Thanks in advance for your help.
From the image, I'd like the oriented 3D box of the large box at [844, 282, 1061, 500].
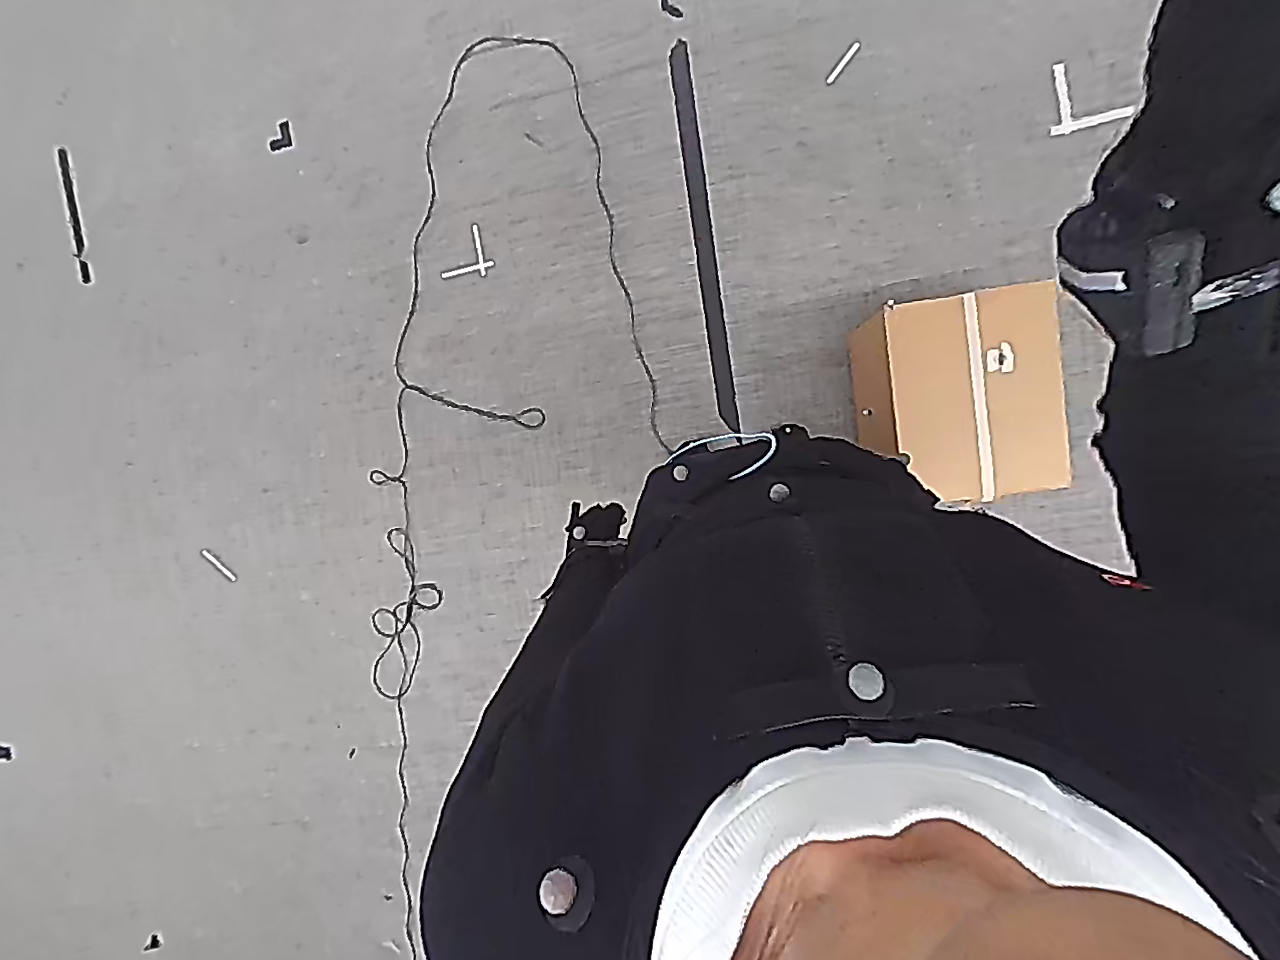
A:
[{"bbox_3d":[0.678,-0.182,1.231,0.320,0.320,0.408,-7,93,7],"label":"large box"}]
